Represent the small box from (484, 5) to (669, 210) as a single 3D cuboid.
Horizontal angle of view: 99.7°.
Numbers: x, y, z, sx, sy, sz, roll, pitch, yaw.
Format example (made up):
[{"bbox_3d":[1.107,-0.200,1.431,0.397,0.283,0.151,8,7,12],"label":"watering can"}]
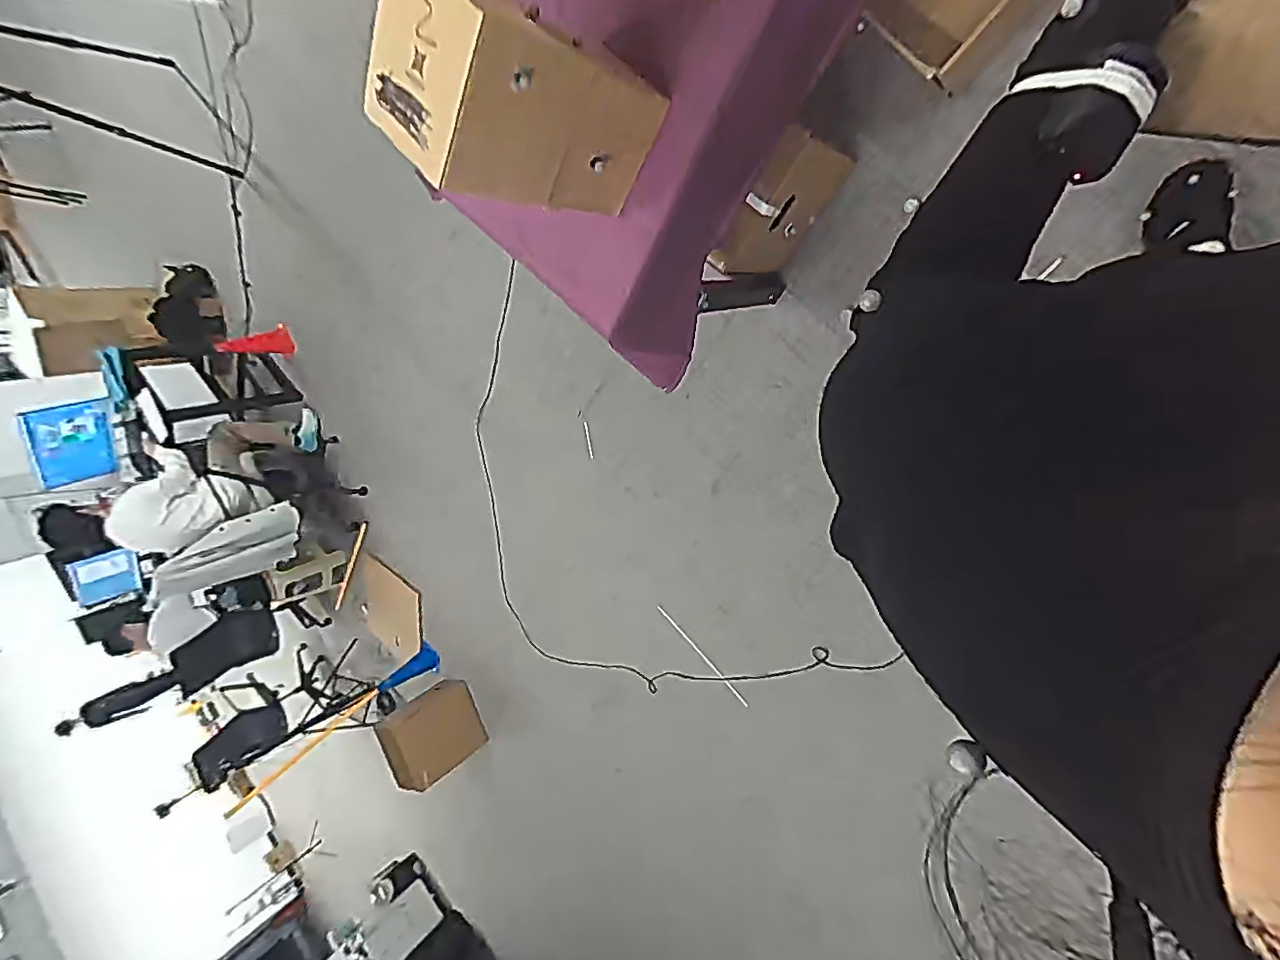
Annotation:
[{"bbox_3d":[-0.088,-0.512,0.774,0.168,0.176,0.179,47,130,13],"label":"small box"}]
